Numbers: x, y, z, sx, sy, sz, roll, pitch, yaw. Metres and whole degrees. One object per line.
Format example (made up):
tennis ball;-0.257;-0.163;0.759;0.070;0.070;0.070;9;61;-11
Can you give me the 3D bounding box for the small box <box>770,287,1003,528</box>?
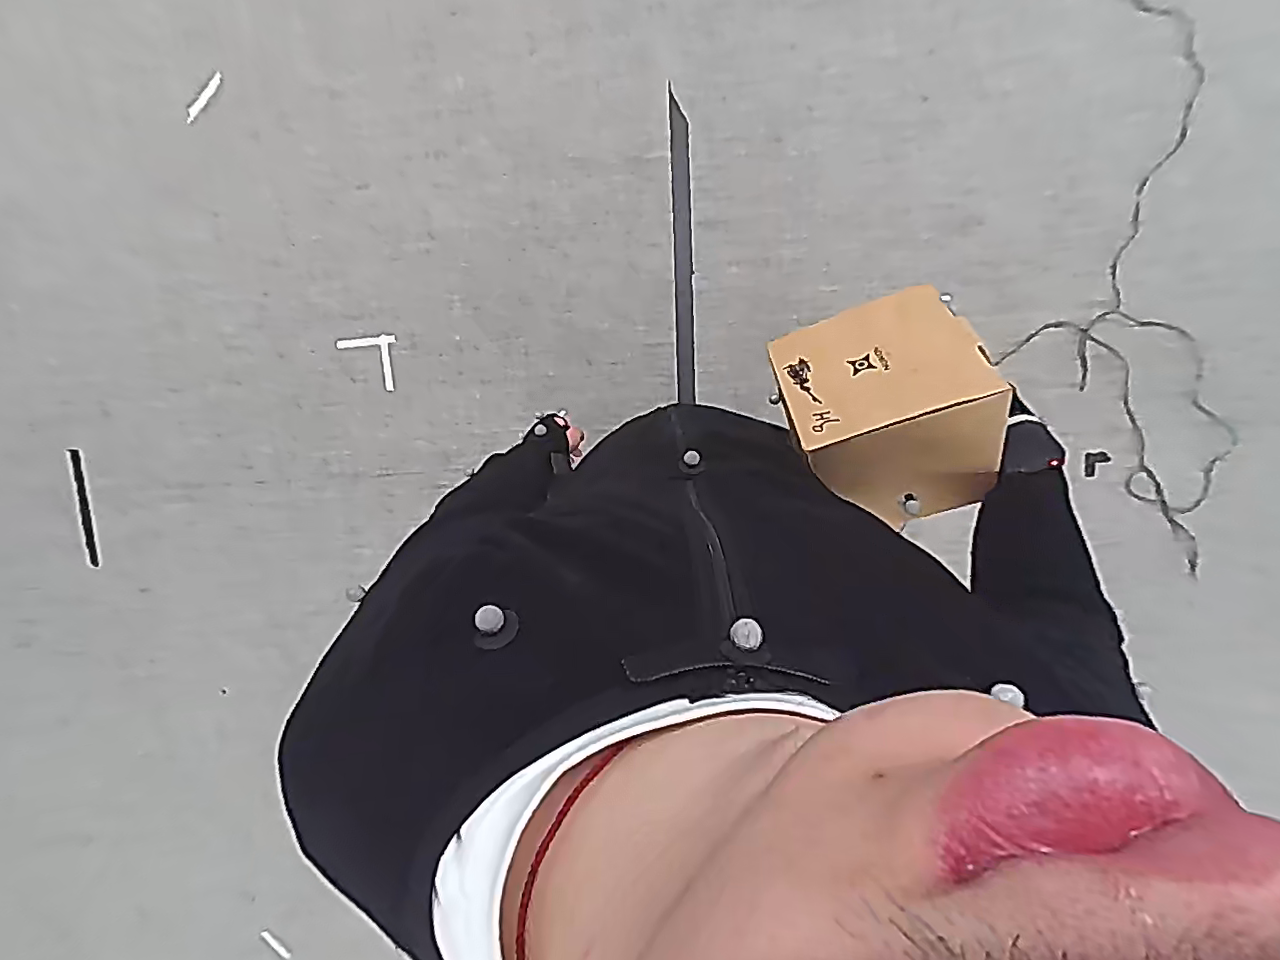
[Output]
small box;0.260;-0.072;0.598;0.179;0.168;0.176;-17;138;14
